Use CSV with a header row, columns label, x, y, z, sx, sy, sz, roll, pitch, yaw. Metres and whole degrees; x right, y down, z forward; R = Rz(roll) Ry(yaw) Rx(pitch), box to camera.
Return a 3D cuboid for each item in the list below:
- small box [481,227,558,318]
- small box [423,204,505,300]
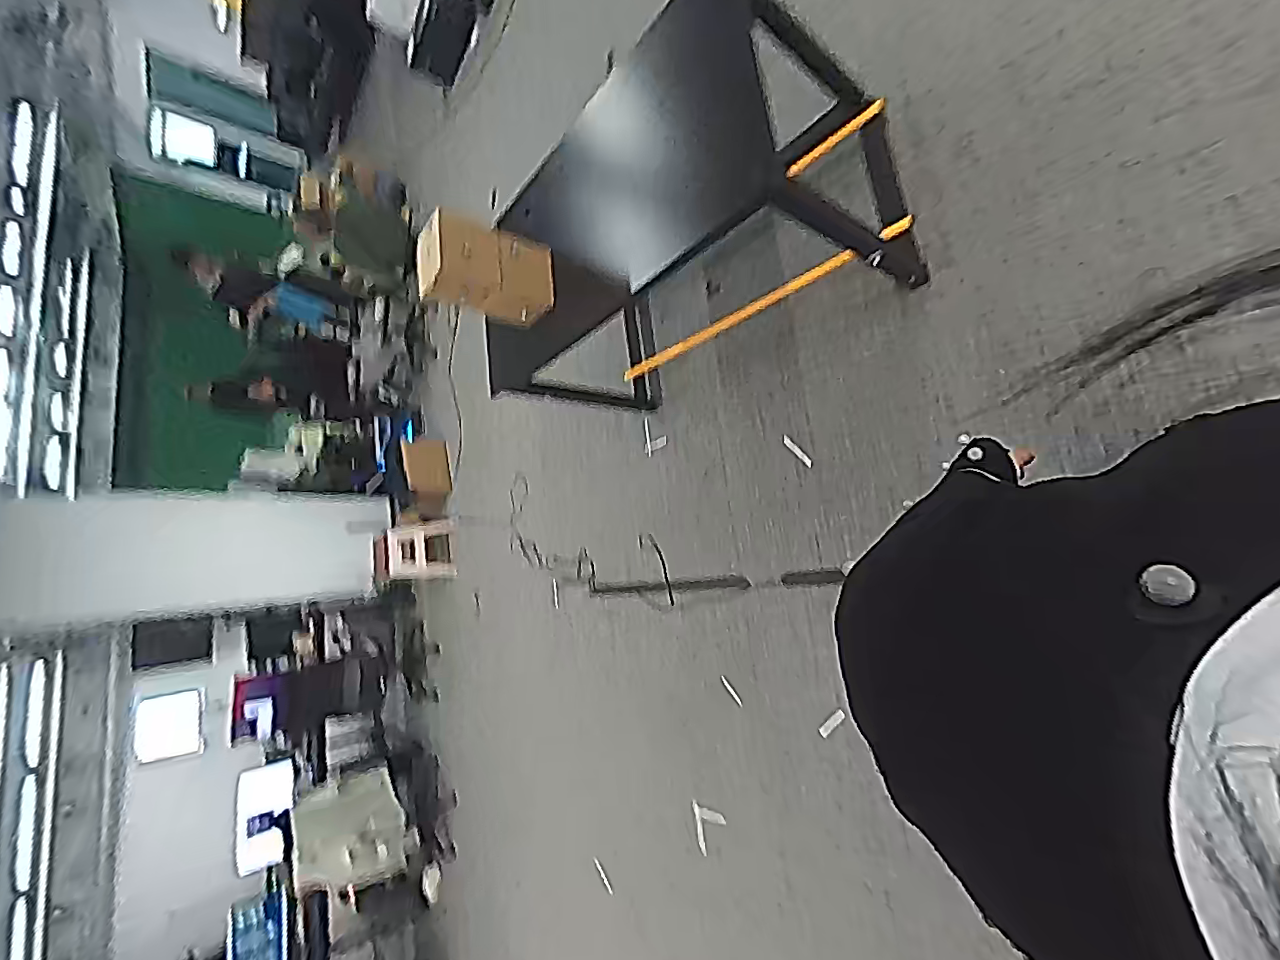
label,x,y,z,sx,sy,sz,roll,pitch,yaw
small box,-0.358,-0.604,1.599,0.168,0.176,0.179,-16,76,49
small box,-0.485,-0.618,1.497,0.168,0.176,0.179,-20,74,48
